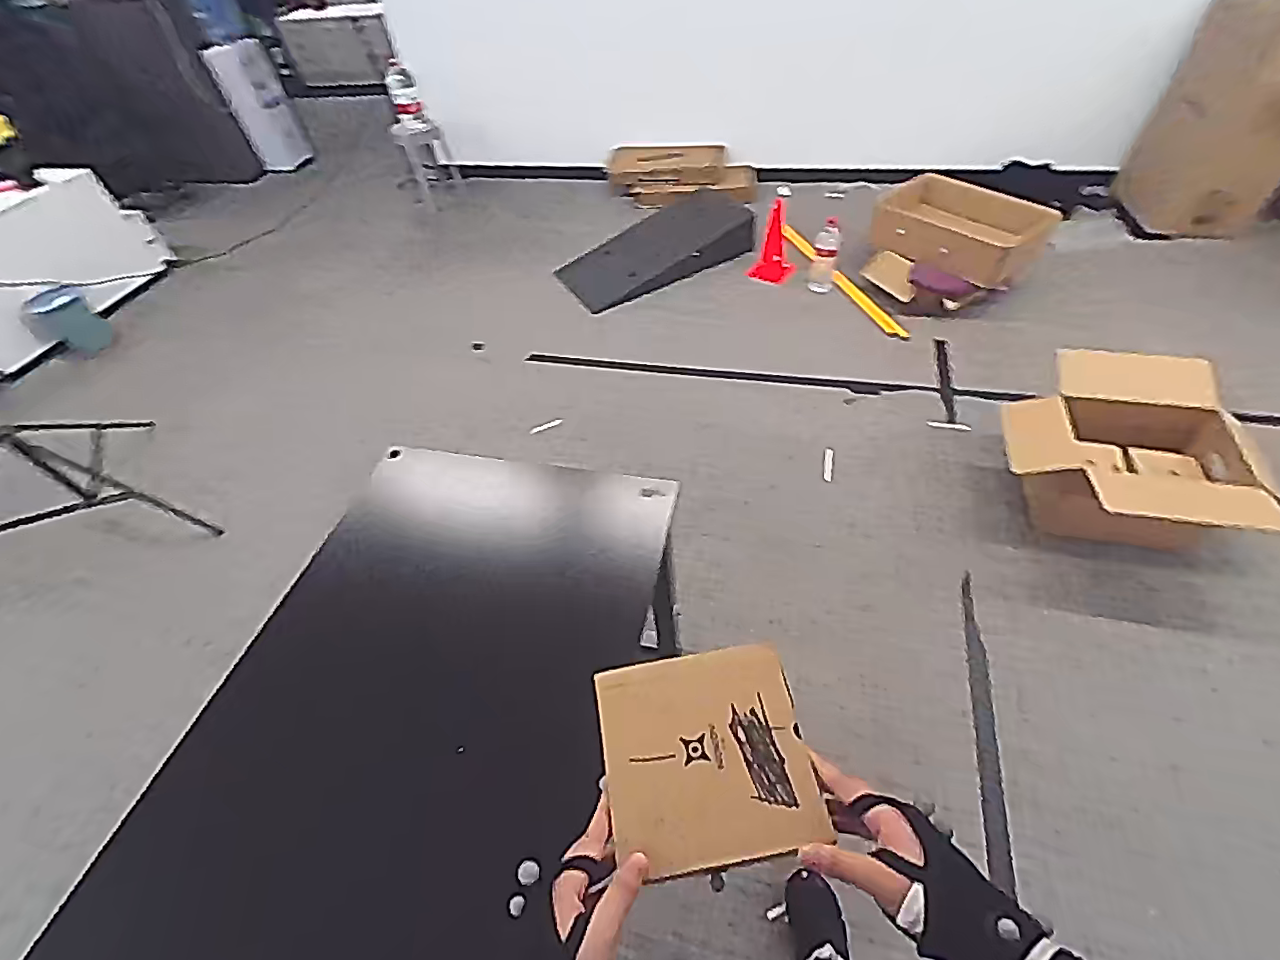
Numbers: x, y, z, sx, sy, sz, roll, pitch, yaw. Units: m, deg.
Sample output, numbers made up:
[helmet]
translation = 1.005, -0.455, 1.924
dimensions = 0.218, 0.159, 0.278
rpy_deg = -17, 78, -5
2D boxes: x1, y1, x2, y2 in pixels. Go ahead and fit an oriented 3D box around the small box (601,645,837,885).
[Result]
[small box]
translation = 0.064, 0.281, 0.530
dimensions = 0.179, 0.176, 0.168
rpy_deg = -9, 53, -1
